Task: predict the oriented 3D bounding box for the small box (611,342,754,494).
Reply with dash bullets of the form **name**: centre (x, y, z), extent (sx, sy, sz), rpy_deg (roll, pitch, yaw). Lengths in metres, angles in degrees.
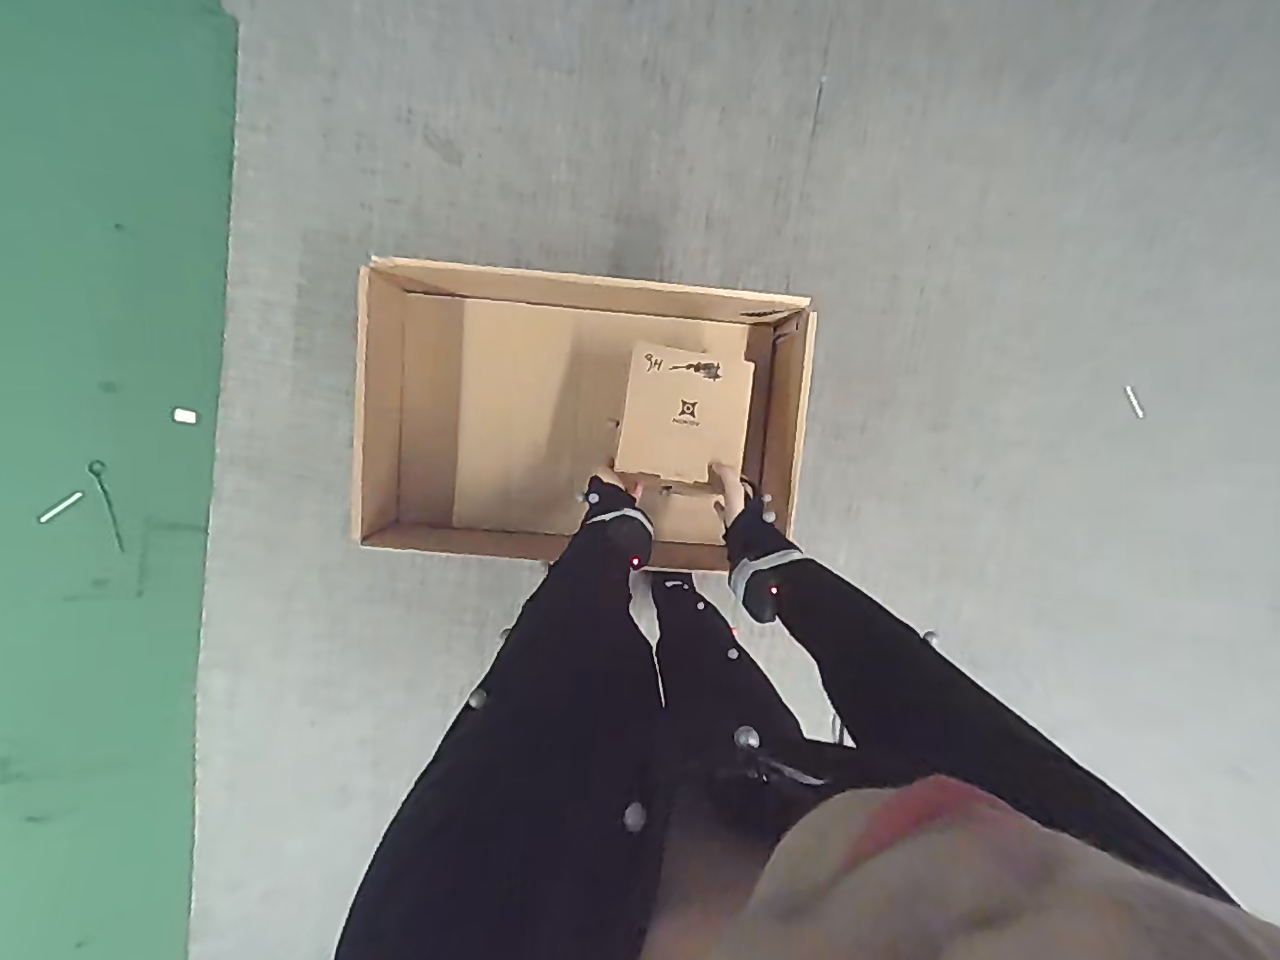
- **small box**: centre (0.052, -0.078, 0.788), extent (0.168, 0.176, 0.179), rpy_deg (10, 85, -5)
